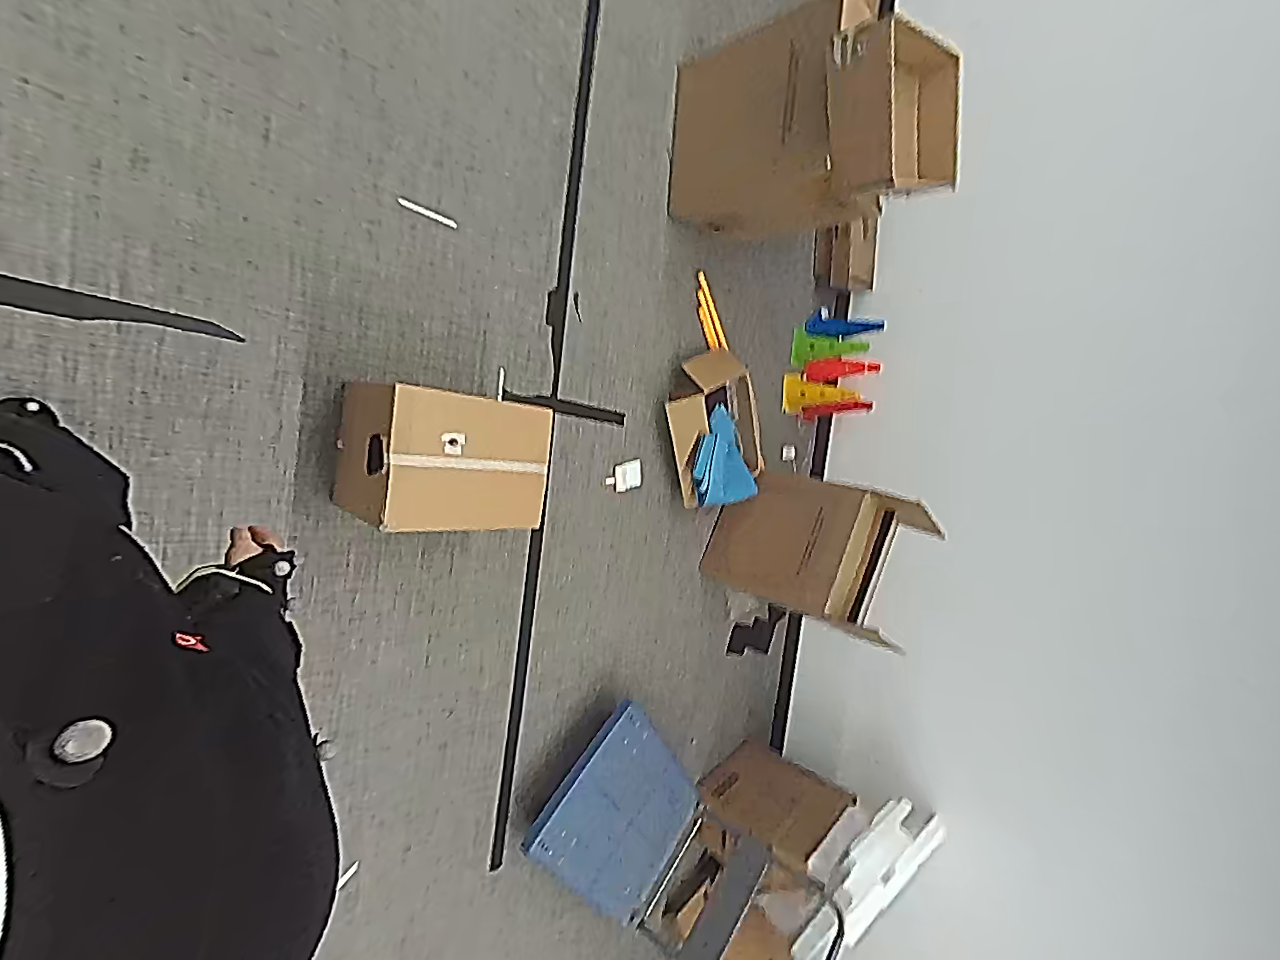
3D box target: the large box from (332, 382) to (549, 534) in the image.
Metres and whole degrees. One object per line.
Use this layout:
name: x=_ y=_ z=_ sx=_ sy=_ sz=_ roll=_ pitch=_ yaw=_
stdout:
large box: x=-0.490 y=-0.057 z=1.344 sx=0.408 sy=0.320 sz=0.320 roll=3 pitch=95 yaw=-46
